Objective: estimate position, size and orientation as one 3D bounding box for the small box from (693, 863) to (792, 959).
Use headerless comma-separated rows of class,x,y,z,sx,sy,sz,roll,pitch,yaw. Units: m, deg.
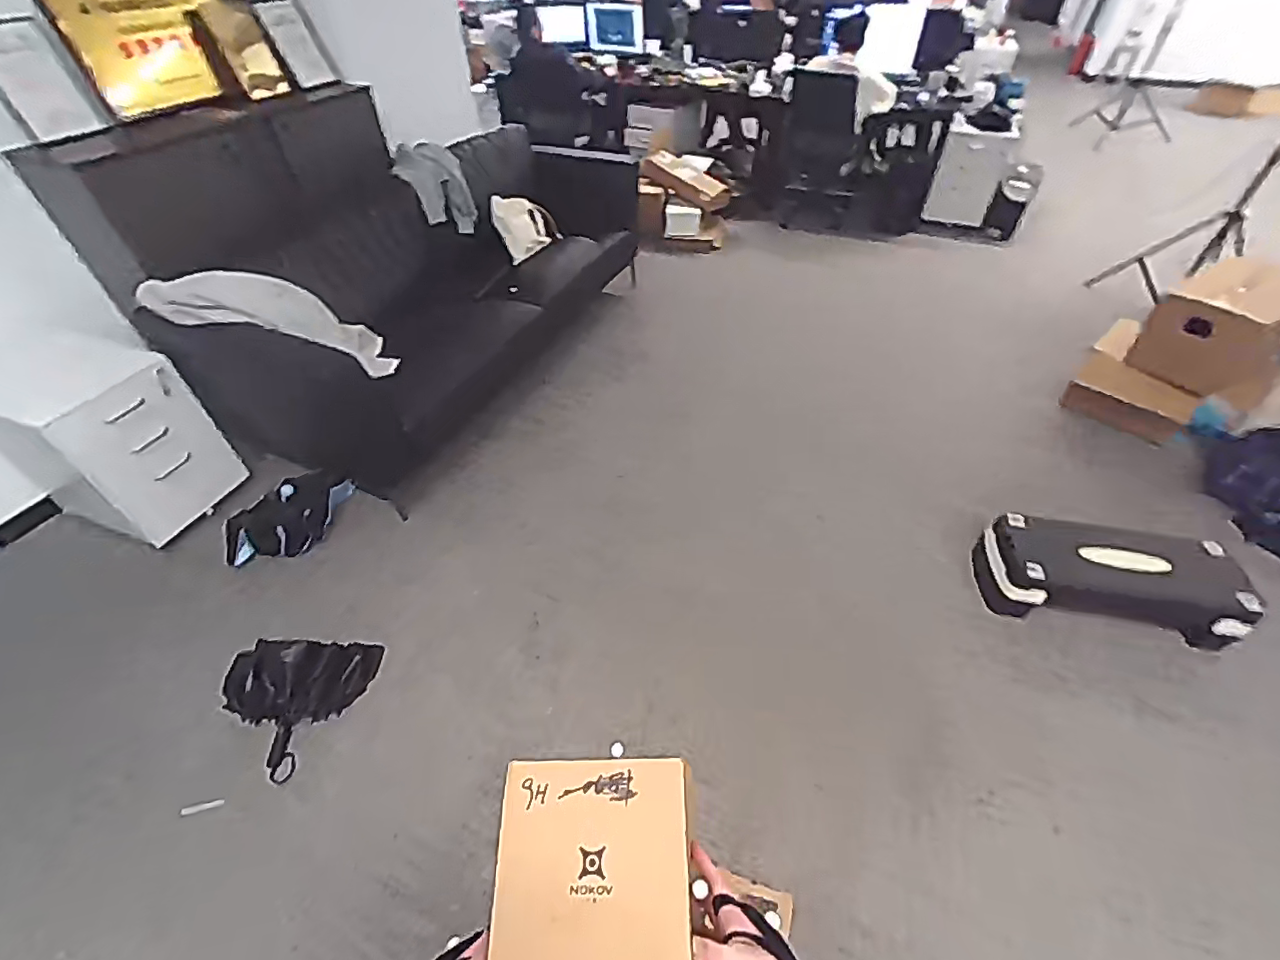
small box,0.212,0.951,1.138,0.168,0.176,0.179,13,48,15
